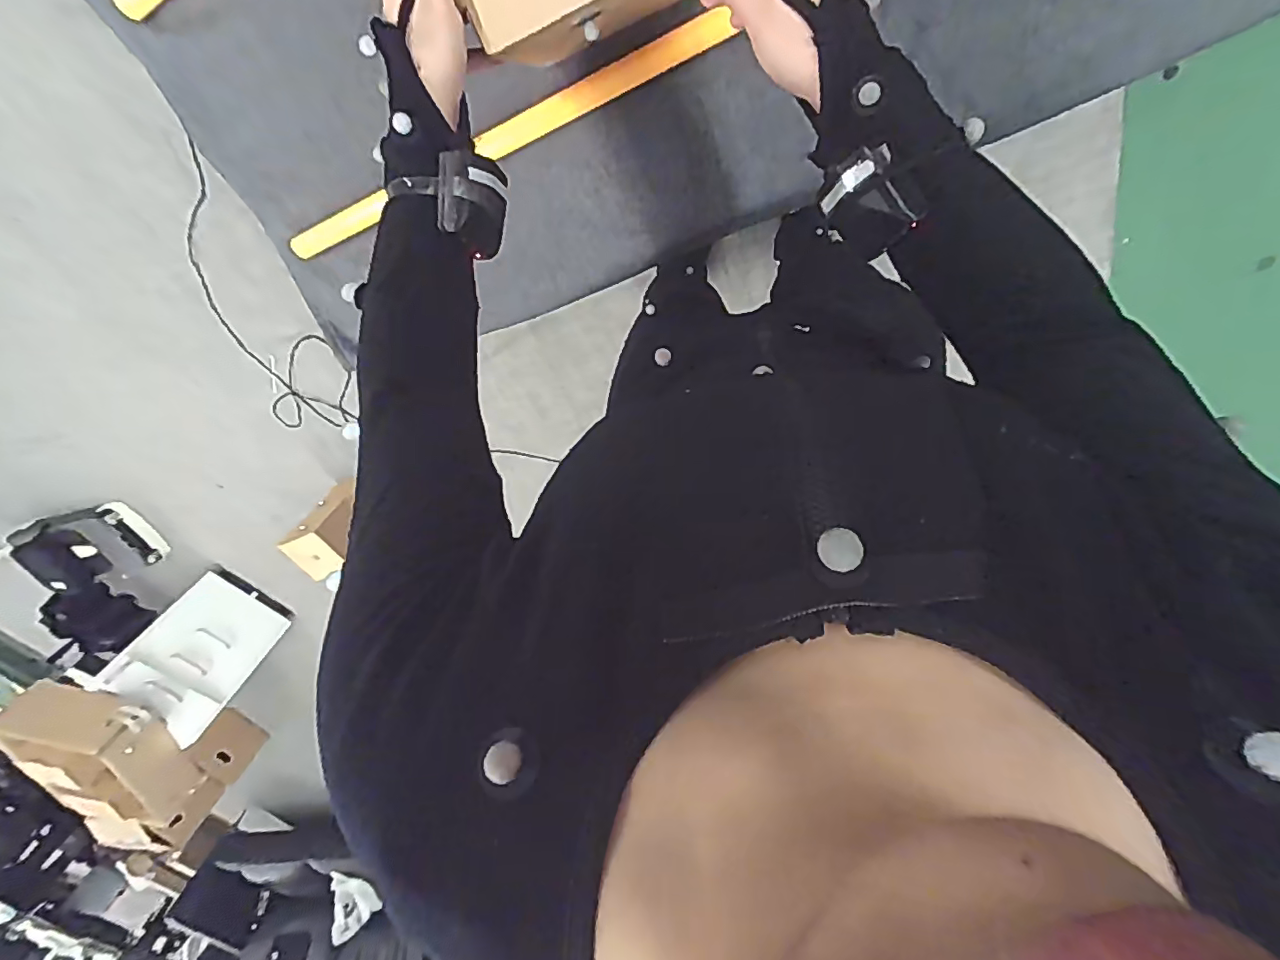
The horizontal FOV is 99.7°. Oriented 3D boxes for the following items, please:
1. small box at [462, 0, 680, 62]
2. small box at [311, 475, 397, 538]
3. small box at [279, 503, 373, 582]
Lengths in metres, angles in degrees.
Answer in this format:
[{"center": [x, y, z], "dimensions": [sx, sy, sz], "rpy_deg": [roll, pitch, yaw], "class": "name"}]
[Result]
[{"center": [-0.051, -0.441, 0.402], "dimensions": [0.179, 0.176, 0.168], "rpy_deg": [-13, 123, 18], "class": "small box"}, {"center": [-0.979, 0.104, 1.877], "dimensions": [0.179, 0.176, 0.168], "rpy_deg": [-18, 122, 22], "class": "small box"}, {"center": [-0.996, 0.197, 1.741], "dimensions": [0.179, 0.176, 0.168], "rpy_deg": [-19, 121, 23], "class": "small box"}]
